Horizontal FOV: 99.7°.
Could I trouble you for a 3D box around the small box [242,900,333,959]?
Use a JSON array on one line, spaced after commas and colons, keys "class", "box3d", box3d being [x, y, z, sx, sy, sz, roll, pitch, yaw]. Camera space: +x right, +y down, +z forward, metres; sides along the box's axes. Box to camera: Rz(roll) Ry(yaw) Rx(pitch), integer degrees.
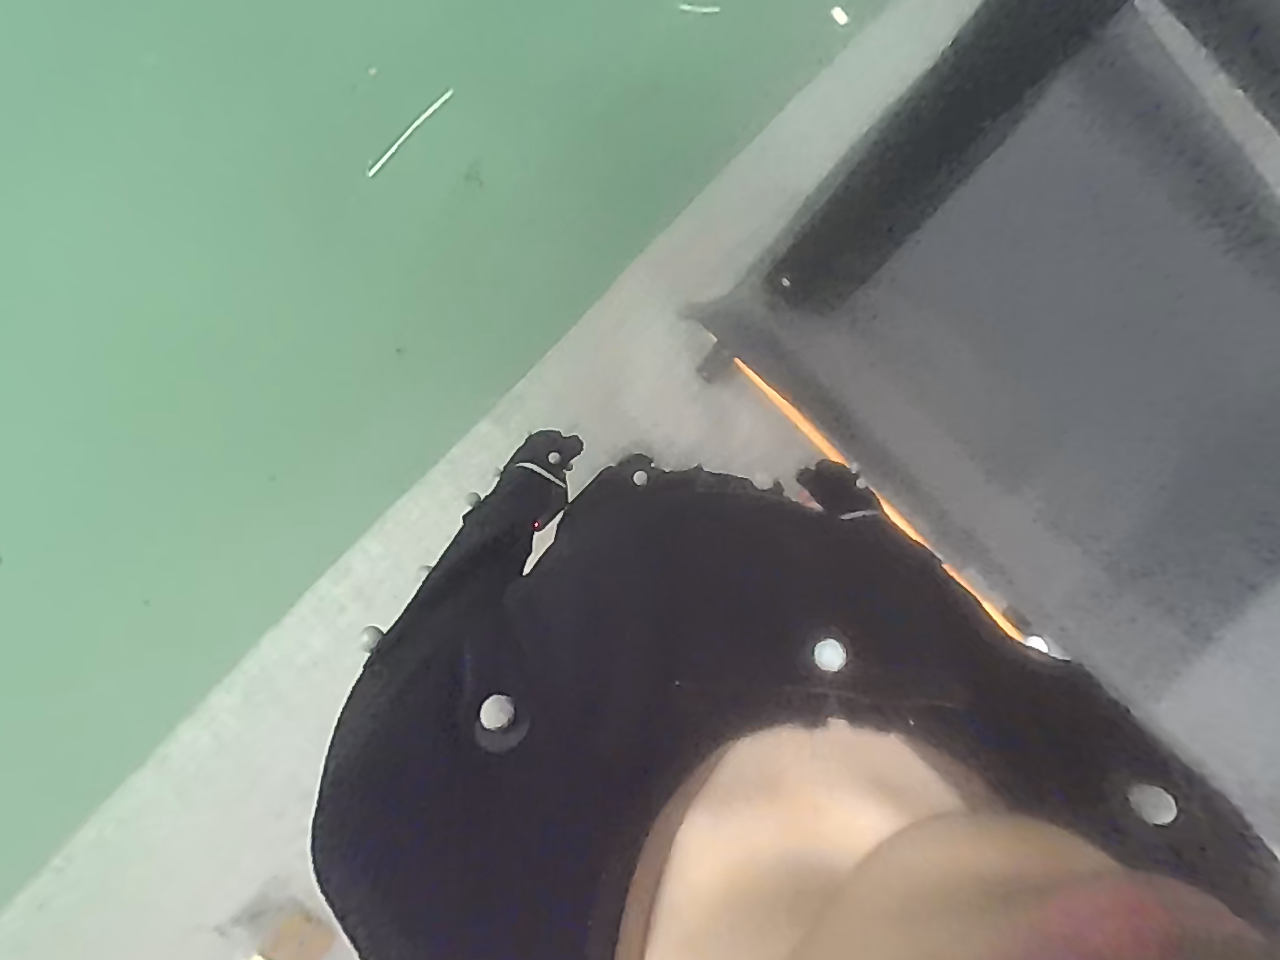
[{"class": "small box", "box3d": [-0.979, 1.309, 1.470, 0.168, 0.176, 0.179, 40, 92, -2]}]
